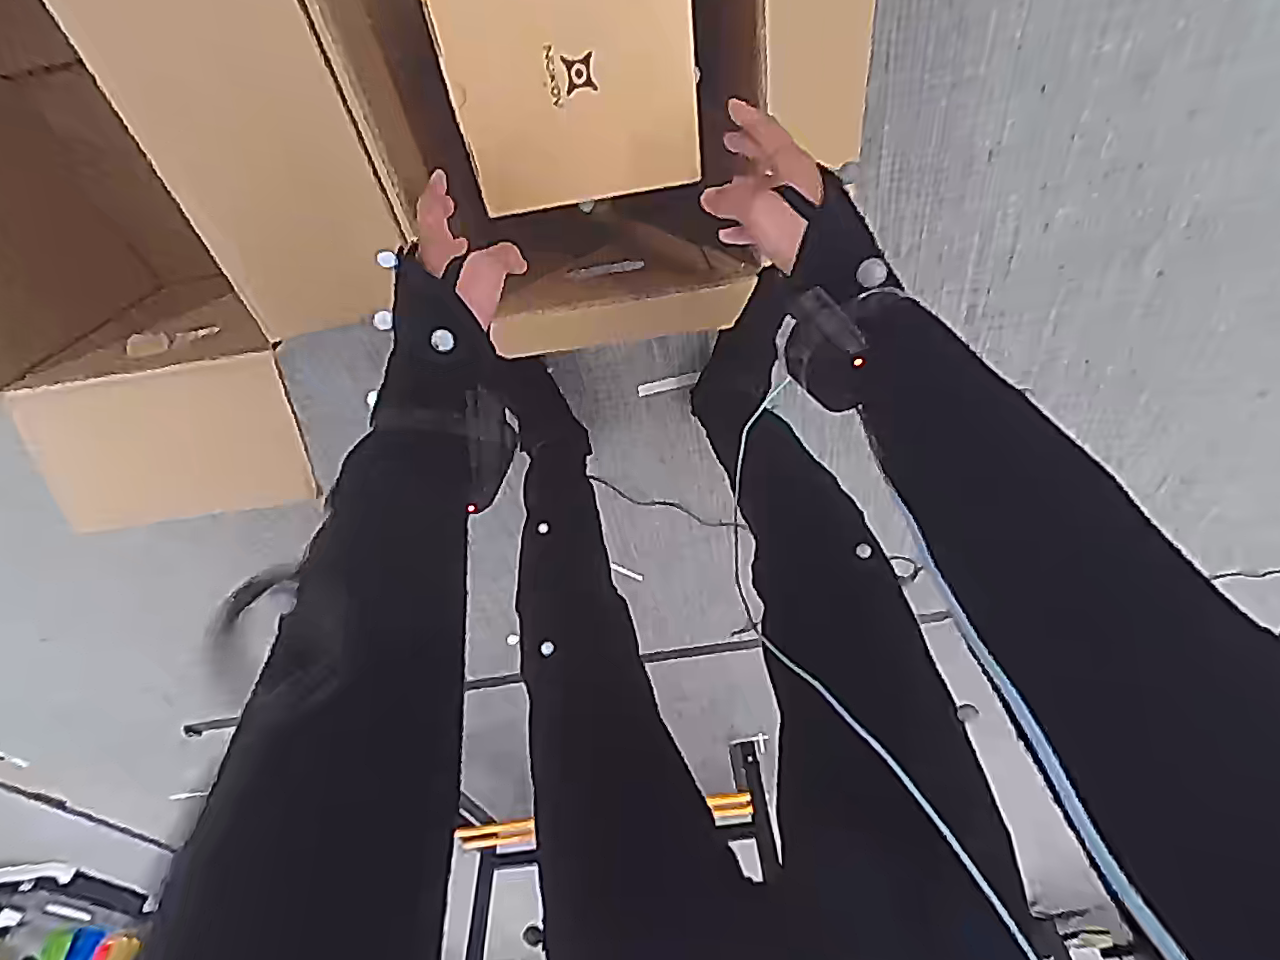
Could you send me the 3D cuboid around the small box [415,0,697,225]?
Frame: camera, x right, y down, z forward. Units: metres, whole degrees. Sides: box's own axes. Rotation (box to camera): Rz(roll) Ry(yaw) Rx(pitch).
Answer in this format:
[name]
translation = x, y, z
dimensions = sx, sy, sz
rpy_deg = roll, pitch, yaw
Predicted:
[small box]
translation = -0.057, -0.331, 0.437
dimensions = 0.179, 0.176, 0.168
rpy_deg = -9, 133, 2
